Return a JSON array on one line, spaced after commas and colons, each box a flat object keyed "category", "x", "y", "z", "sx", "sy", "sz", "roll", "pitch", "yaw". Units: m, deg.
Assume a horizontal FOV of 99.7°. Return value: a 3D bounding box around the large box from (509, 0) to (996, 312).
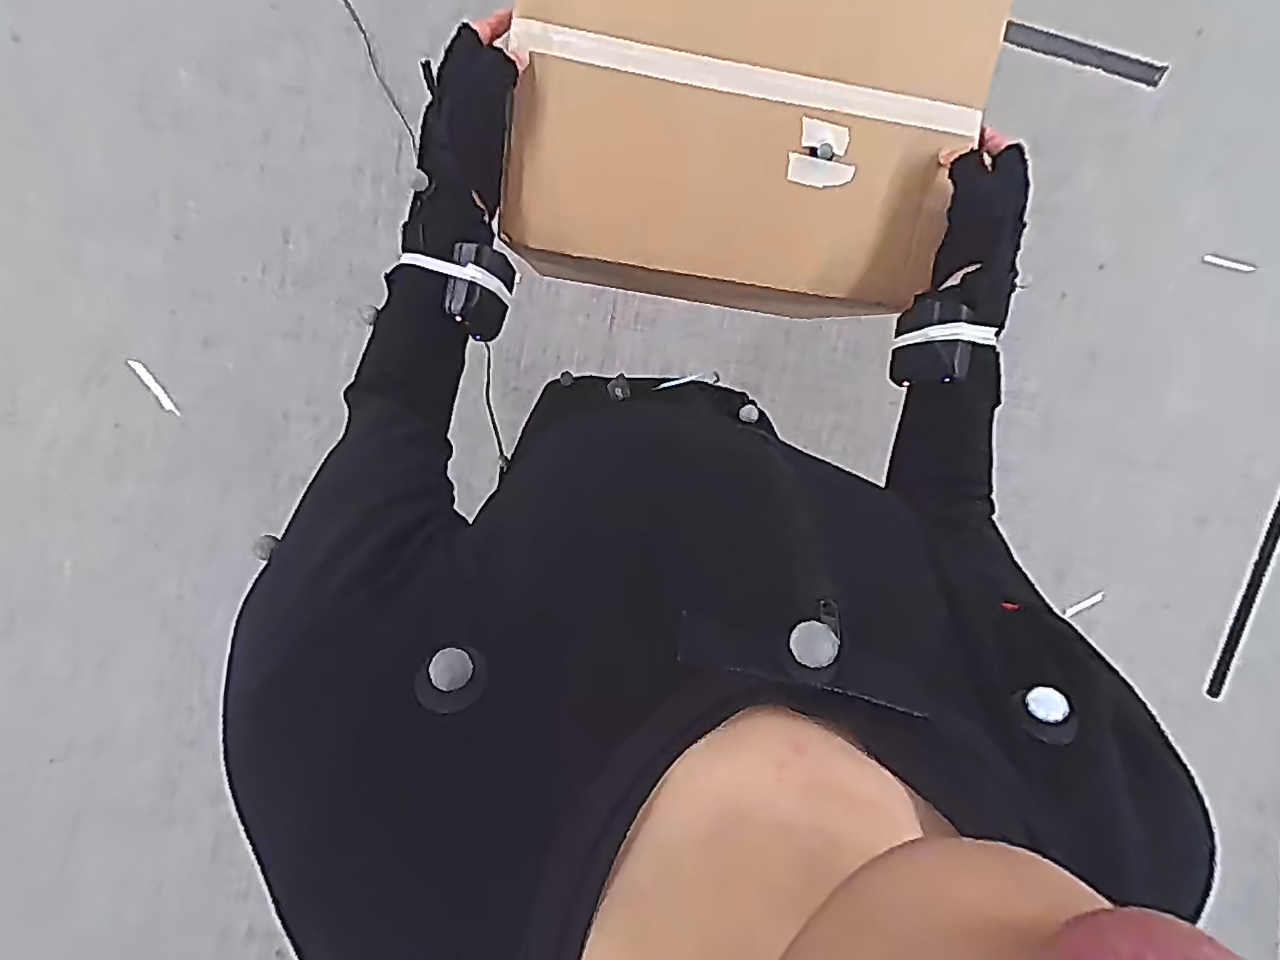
[{"category": "large box", "x": 0.083, "y": -0.379, "z": 0.610, "sx": 0.408, "sy": 0.320, "sz": 0.320, "roll": 7, "pitch": 106, "yaw": -7}]
